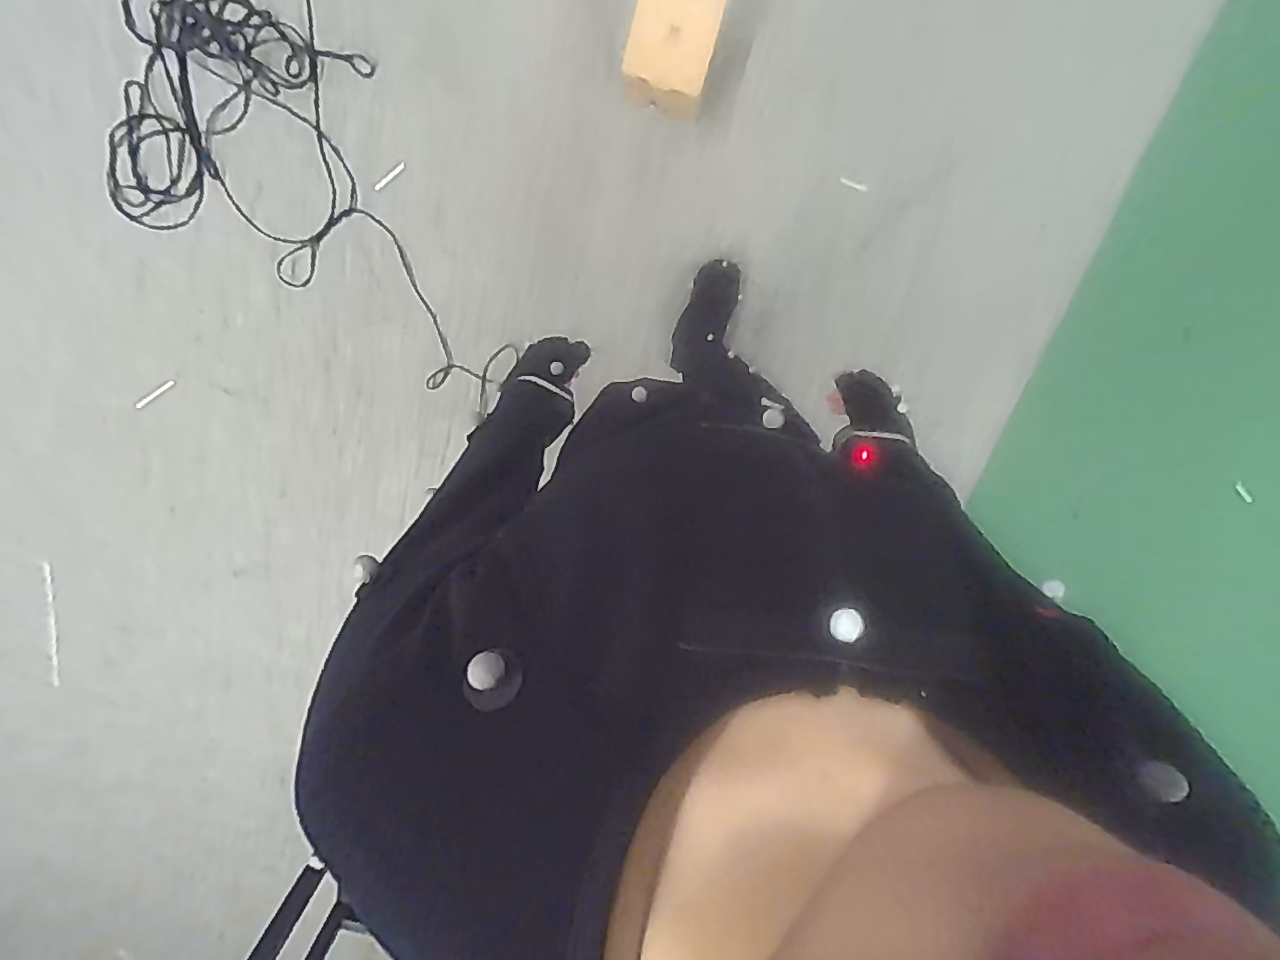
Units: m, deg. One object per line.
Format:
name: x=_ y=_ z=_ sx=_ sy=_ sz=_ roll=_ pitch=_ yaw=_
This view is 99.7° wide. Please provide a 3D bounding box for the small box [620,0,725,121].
small box: x=0.063 y=-0.892 z=1.125 sx=0.168 sy=0.176 sz=0.179 roll=17 pitch=107 yaw=-3
